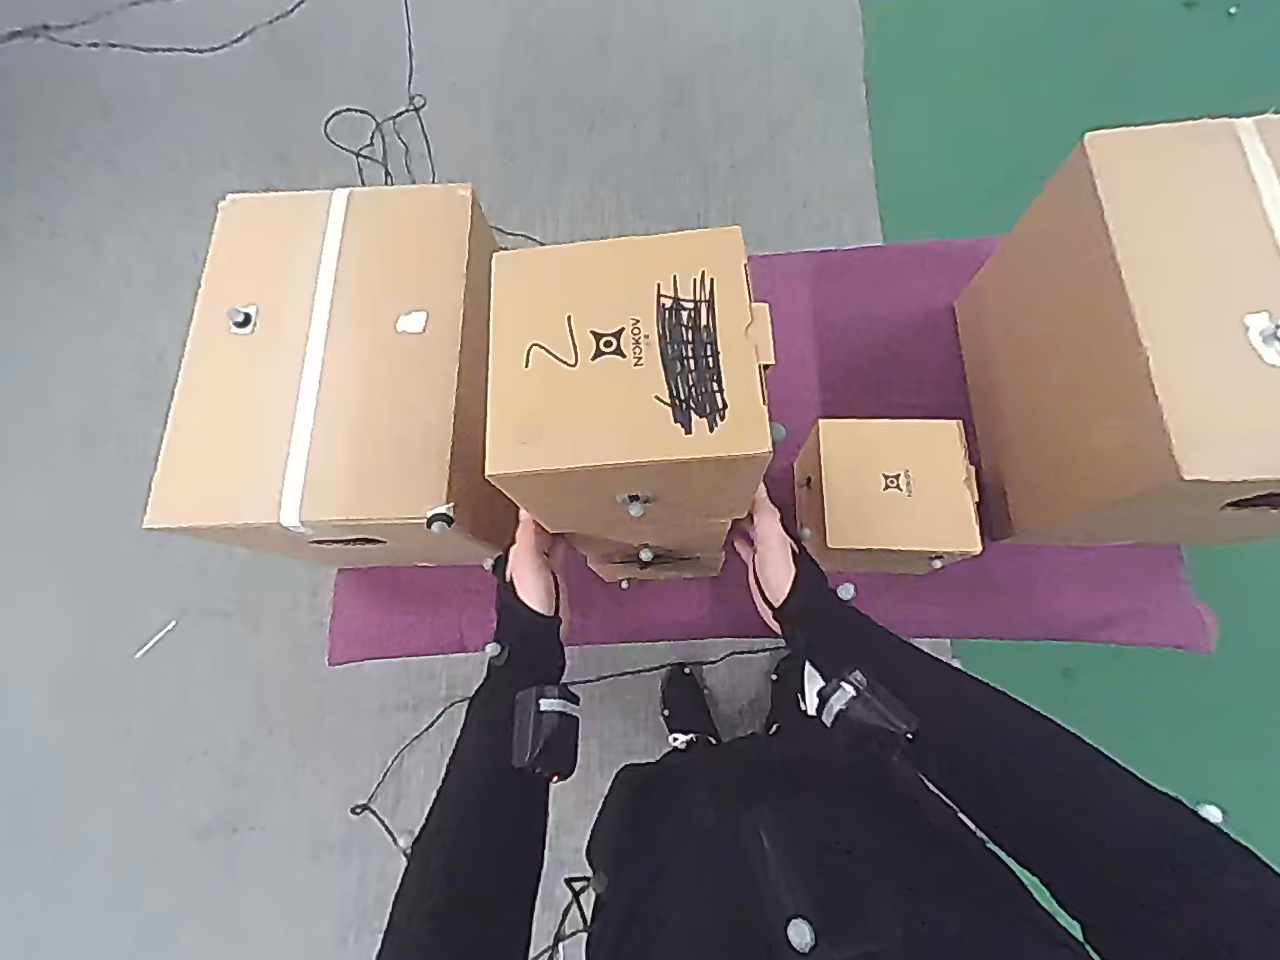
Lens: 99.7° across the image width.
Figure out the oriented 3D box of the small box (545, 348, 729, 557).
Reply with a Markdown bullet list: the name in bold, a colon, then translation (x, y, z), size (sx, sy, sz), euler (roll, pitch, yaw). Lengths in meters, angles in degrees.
- **small box**: translation (0.004, -0.021, 0.577), size (0.168, 0.176, 0.179), euler (-1, 72, 5)

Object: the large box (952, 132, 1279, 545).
- **large box**: translation (0.642, -0.142, 0.670), size (0.320, 0.320, 0.408), euler (-1, 74, 5)

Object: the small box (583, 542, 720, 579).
- **small box**: translation (0.018, 0.038, 0.732), size (0.168, 0.176, 0.179), euler (-4, 71, 3)
